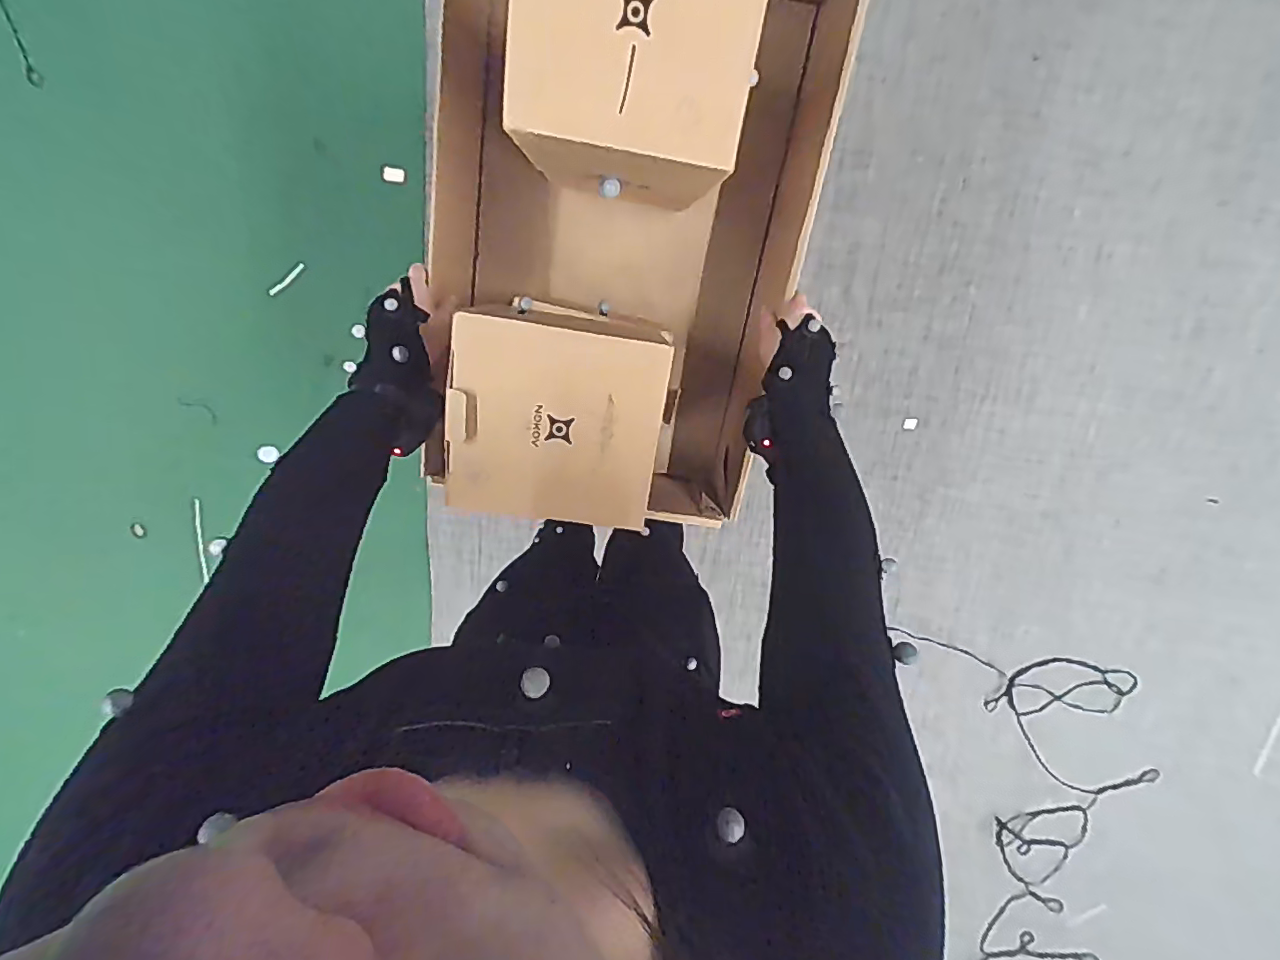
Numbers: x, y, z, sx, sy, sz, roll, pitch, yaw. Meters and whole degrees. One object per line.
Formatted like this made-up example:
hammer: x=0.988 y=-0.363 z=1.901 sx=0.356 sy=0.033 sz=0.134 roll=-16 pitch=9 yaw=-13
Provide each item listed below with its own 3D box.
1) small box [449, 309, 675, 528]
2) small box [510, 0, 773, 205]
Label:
small box: x=-0.073 y=-0.070 z=0.530 sx=0.179 sy=0.176 sz=0.168 roll=7 pitch=110 yaw=-6
small box: x=-0.001 y=-0.336 z=0.430 sx=0.168 sy=0.176 sz=0.179 roll=8 pitch=111 yaw=-5
